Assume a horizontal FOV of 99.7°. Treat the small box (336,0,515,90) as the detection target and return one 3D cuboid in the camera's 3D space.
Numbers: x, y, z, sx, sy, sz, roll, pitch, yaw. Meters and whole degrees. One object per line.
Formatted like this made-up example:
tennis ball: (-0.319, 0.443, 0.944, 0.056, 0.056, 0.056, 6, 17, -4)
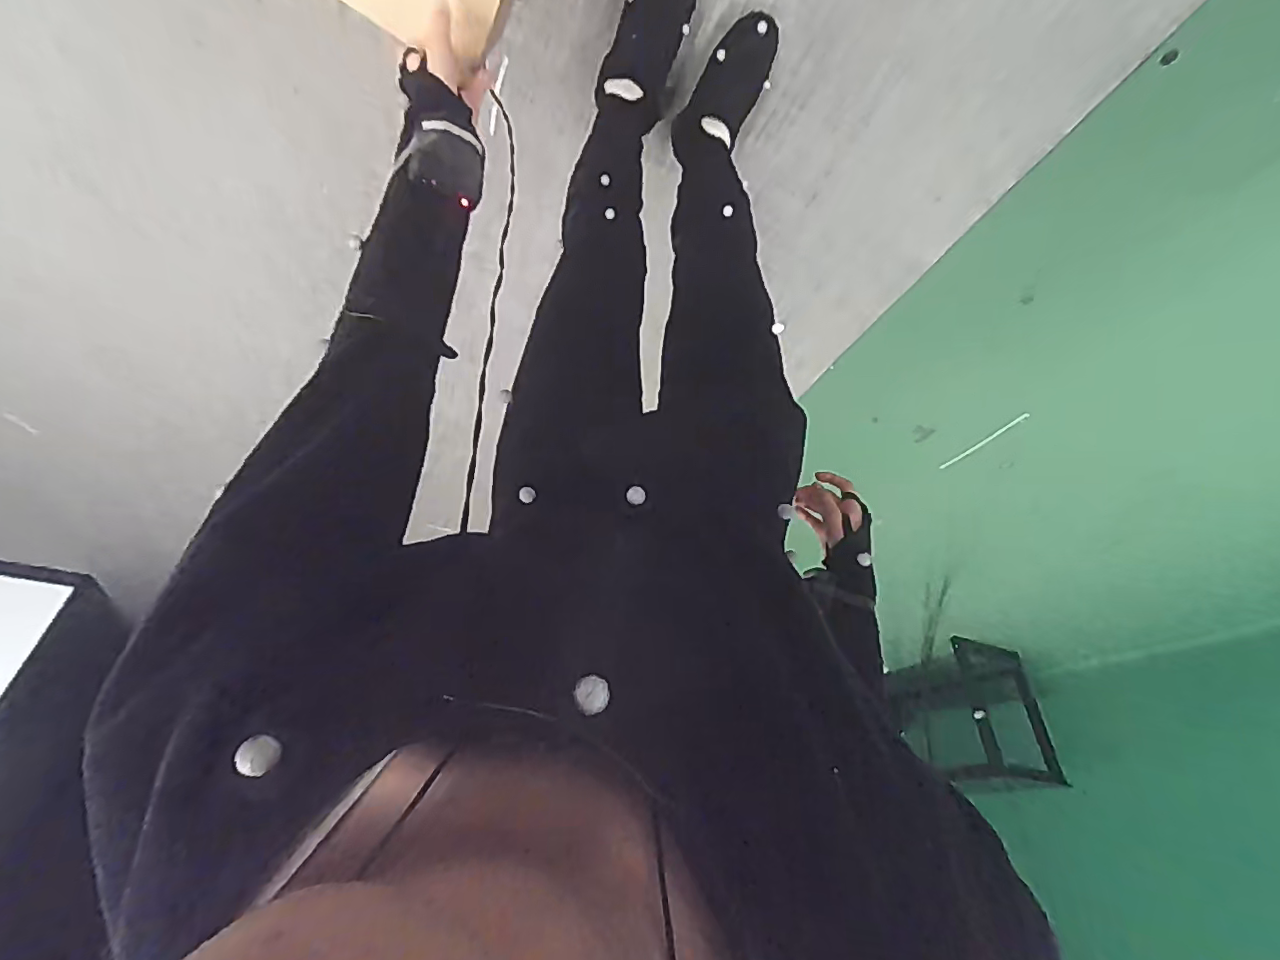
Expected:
small box: (-0.204, -0.547, 0.533, 0.179, 0.176, 0.168, 24, 138, -25)
